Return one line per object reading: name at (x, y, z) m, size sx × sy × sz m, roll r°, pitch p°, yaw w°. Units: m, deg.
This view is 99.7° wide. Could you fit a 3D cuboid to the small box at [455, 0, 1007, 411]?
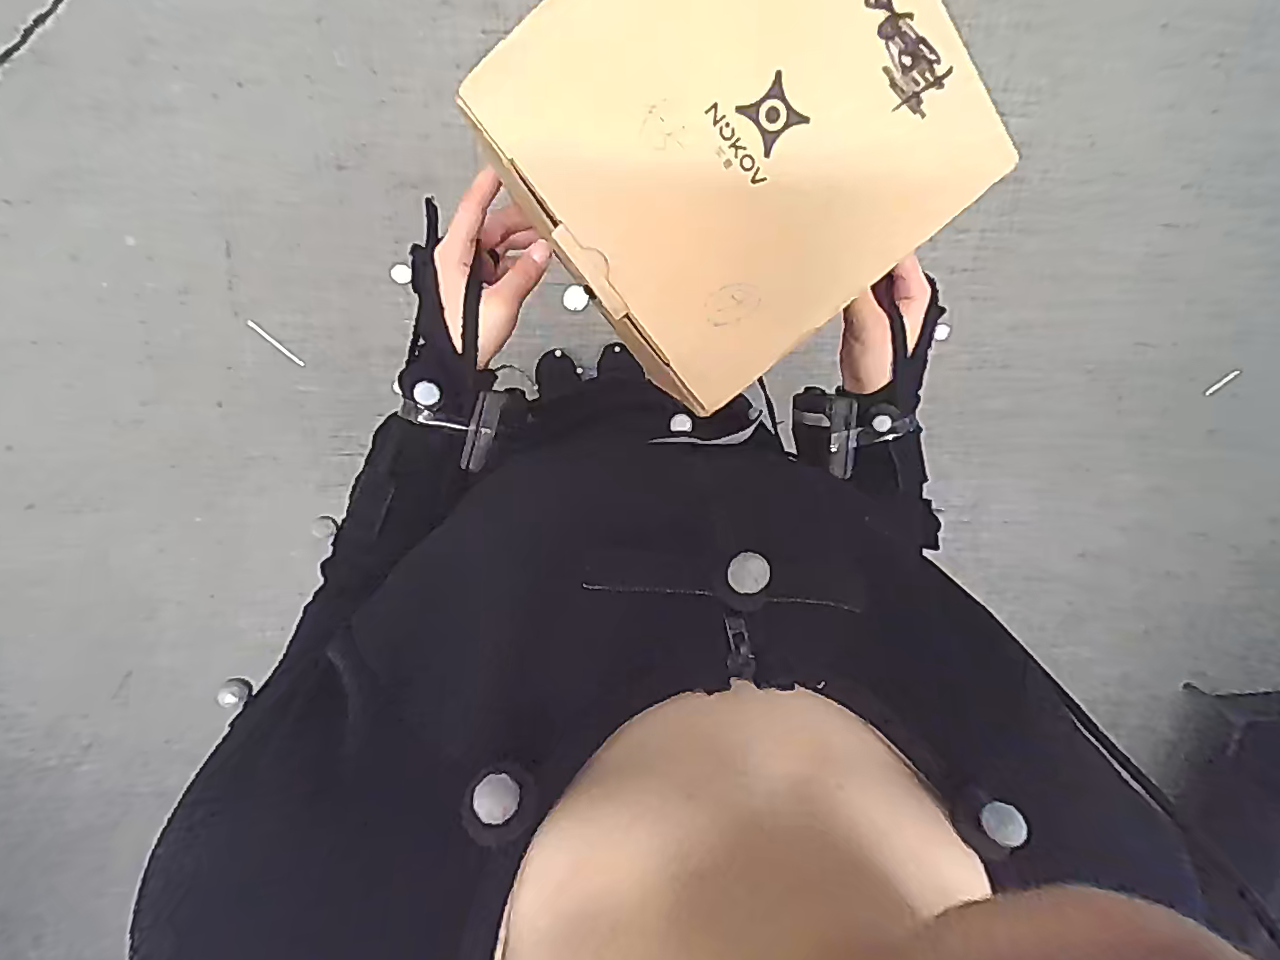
small box at (0.037, -0.162, 0.299) m, size 0.179 × 0.176 × 0.168 m, roll -39°, pitch 105°, yaw 6°
